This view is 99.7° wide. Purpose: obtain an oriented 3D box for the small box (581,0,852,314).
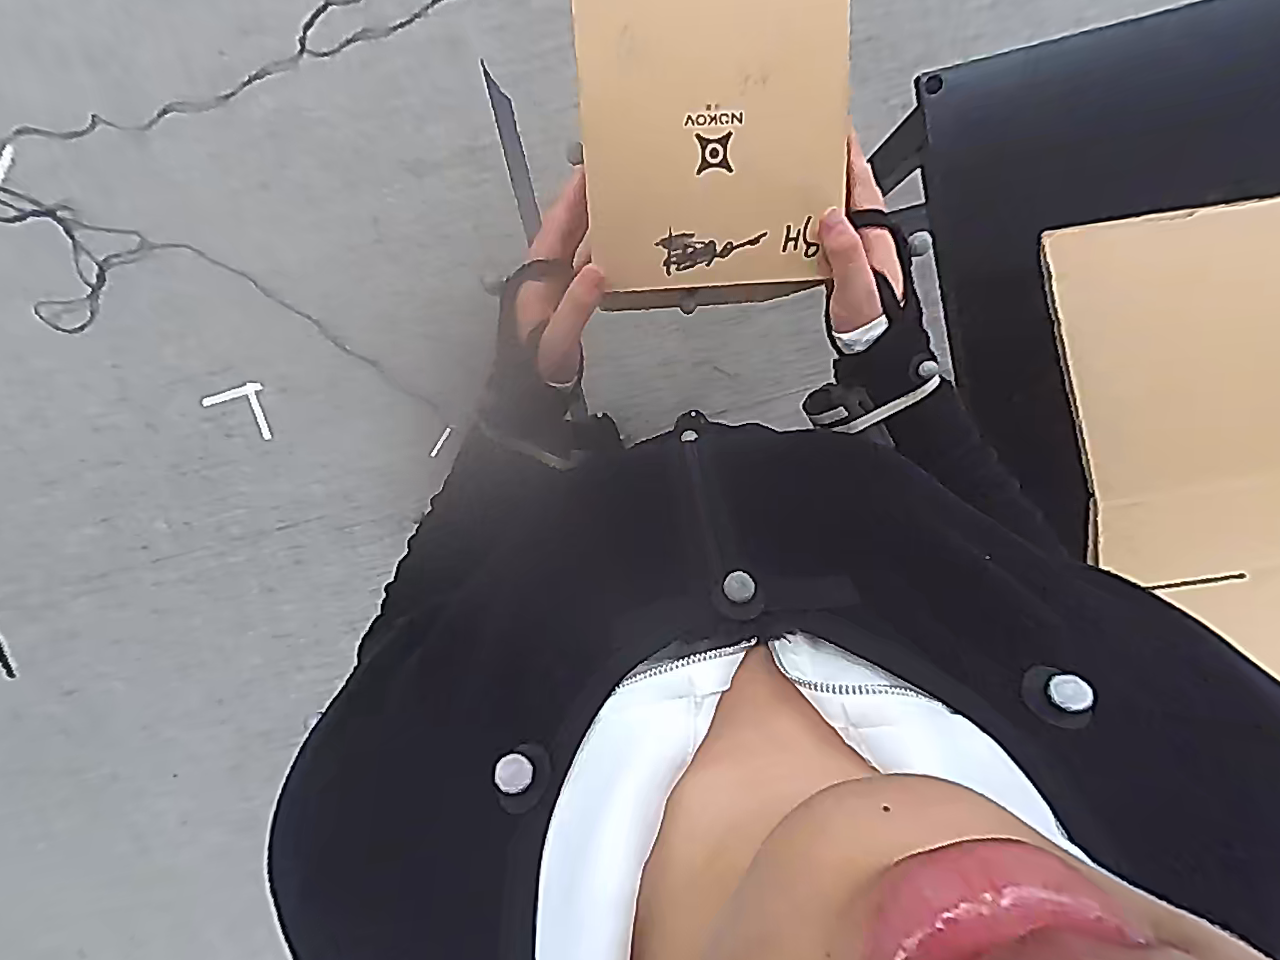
[{"bbox_3d":[0.045,-0.229,0.411,0.168,0.176,0.179,-4,103,-2],"label":"small box"}]
